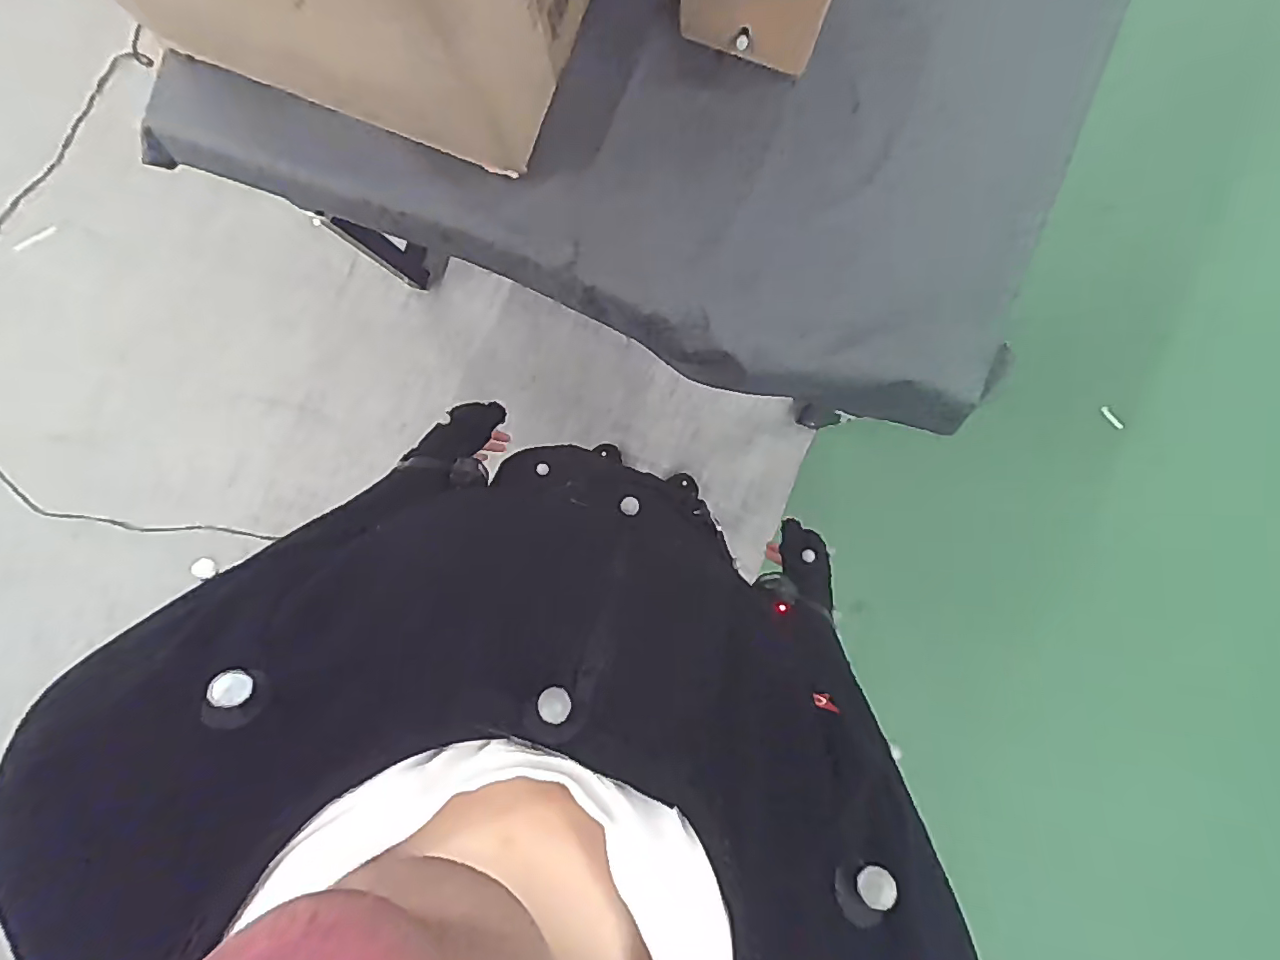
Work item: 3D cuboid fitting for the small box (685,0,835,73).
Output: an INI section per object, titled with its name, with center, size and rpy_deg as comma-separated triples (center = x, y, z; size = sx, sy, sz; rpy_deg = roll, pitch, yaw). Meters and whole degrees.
[small box]
center = 0.164, -0.636, 0.642
size = 0.179, 0.176, 0.168
rpy_deg = 20, 92, 1
